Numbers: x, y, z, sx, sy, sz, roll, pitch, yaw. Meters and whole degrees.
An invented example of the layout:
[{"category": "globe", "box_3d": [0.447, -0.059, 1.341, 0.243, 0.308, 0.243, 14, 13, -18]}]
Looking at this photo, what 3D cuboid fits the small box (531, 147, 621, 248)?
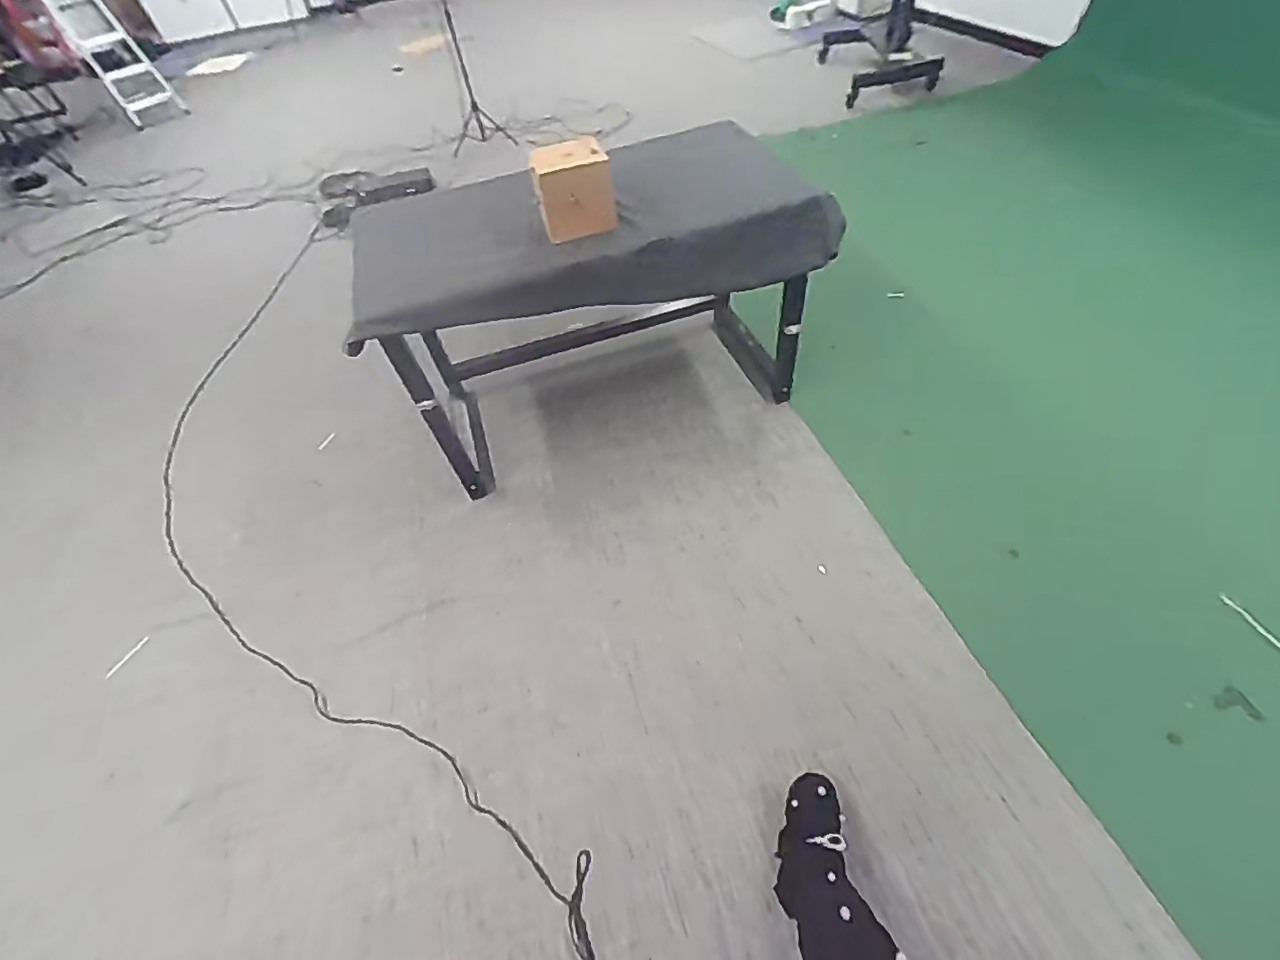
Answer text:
[{"category": "small box", "box_3d": [-0.160, -0.714, 1.375, 0.179, 0.176, 0.168, -18, 49, -8]}]
